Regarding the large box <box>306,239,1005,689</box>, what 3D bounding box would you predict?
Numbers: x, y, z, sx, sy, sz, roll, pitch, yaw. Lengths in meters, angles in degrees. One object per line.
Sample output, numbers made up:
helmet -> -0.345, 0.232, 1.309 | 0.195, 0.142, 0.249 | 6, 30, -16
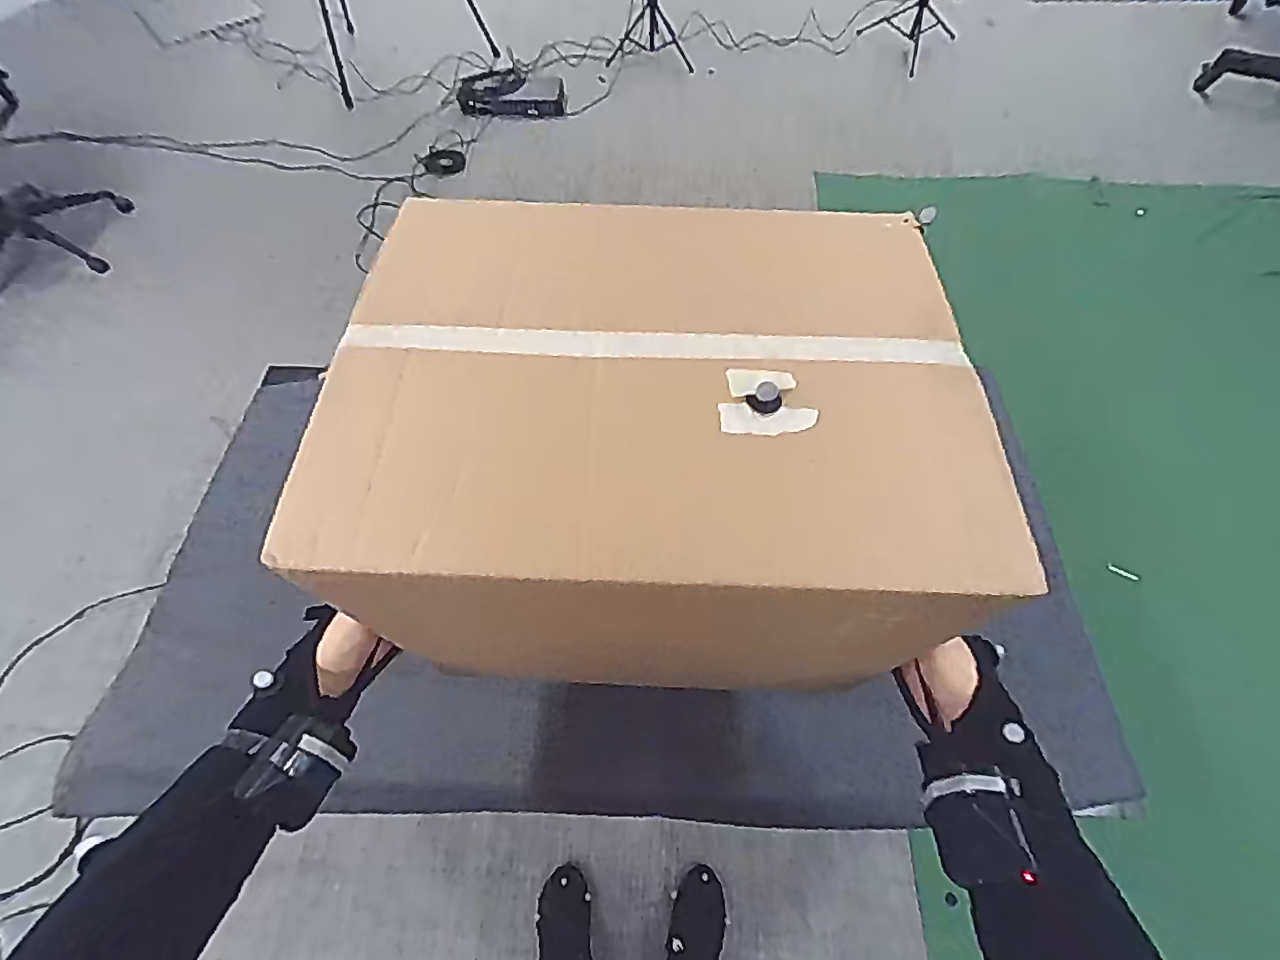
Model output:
large box -> 0.008, 0.007, 0.505 | 0.408, 0.320, 0.320 | 2, 60, 0
